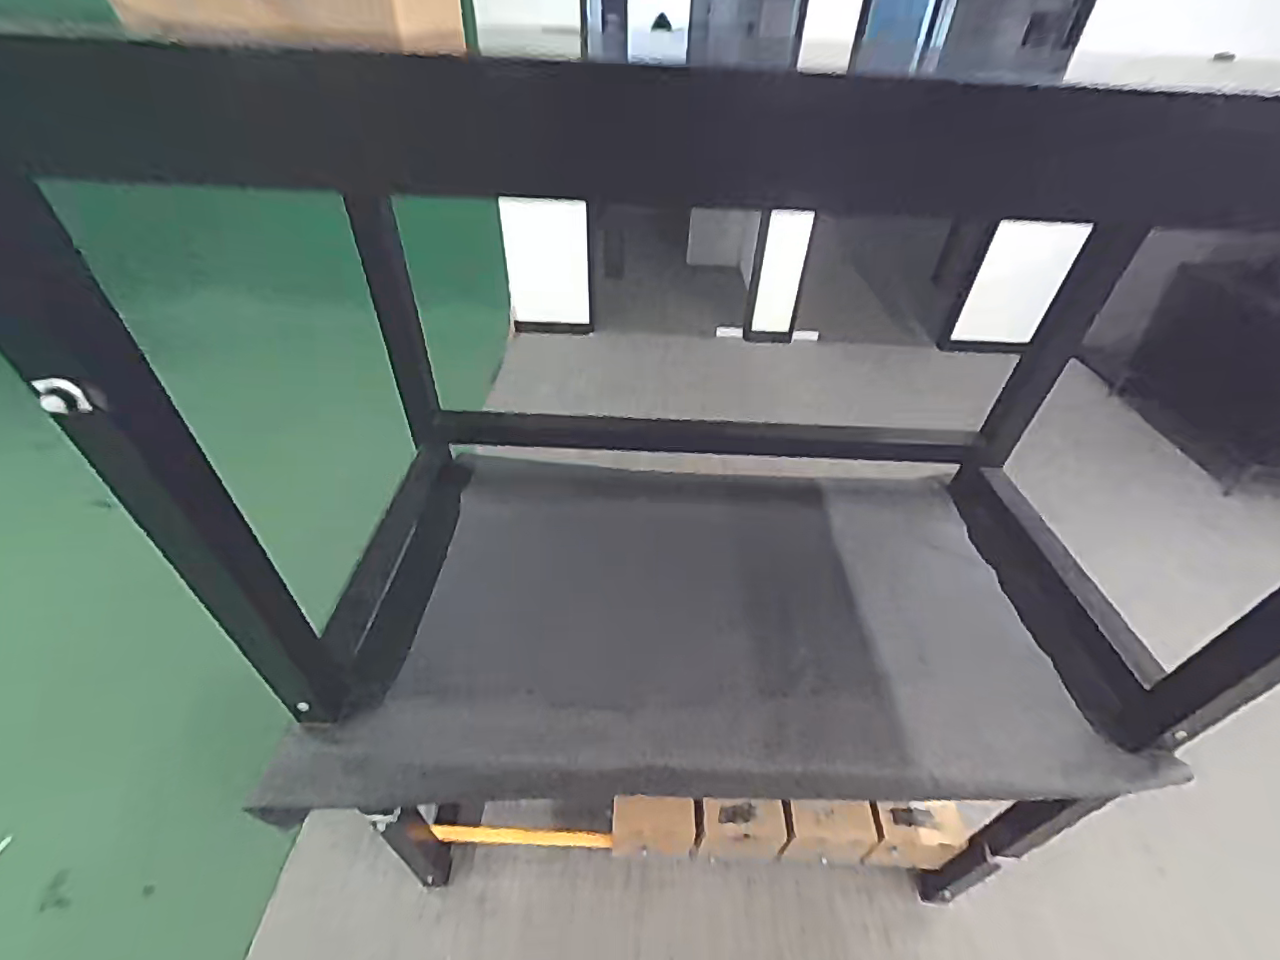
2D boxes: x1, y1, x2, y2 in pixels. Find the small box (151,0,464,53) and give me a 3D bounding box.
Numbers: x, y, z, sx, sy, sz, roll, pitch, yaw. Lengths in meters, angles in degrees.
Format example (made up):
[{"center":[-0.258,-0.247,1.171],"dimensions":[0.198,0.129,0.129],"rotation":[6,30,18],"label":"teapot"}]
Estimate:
[{"center":[-0.220,-0.388,0.345],"dimensions":[0.168,0.176,0.179],"rotation":[-1,40,-3],"label":"small box"}]
